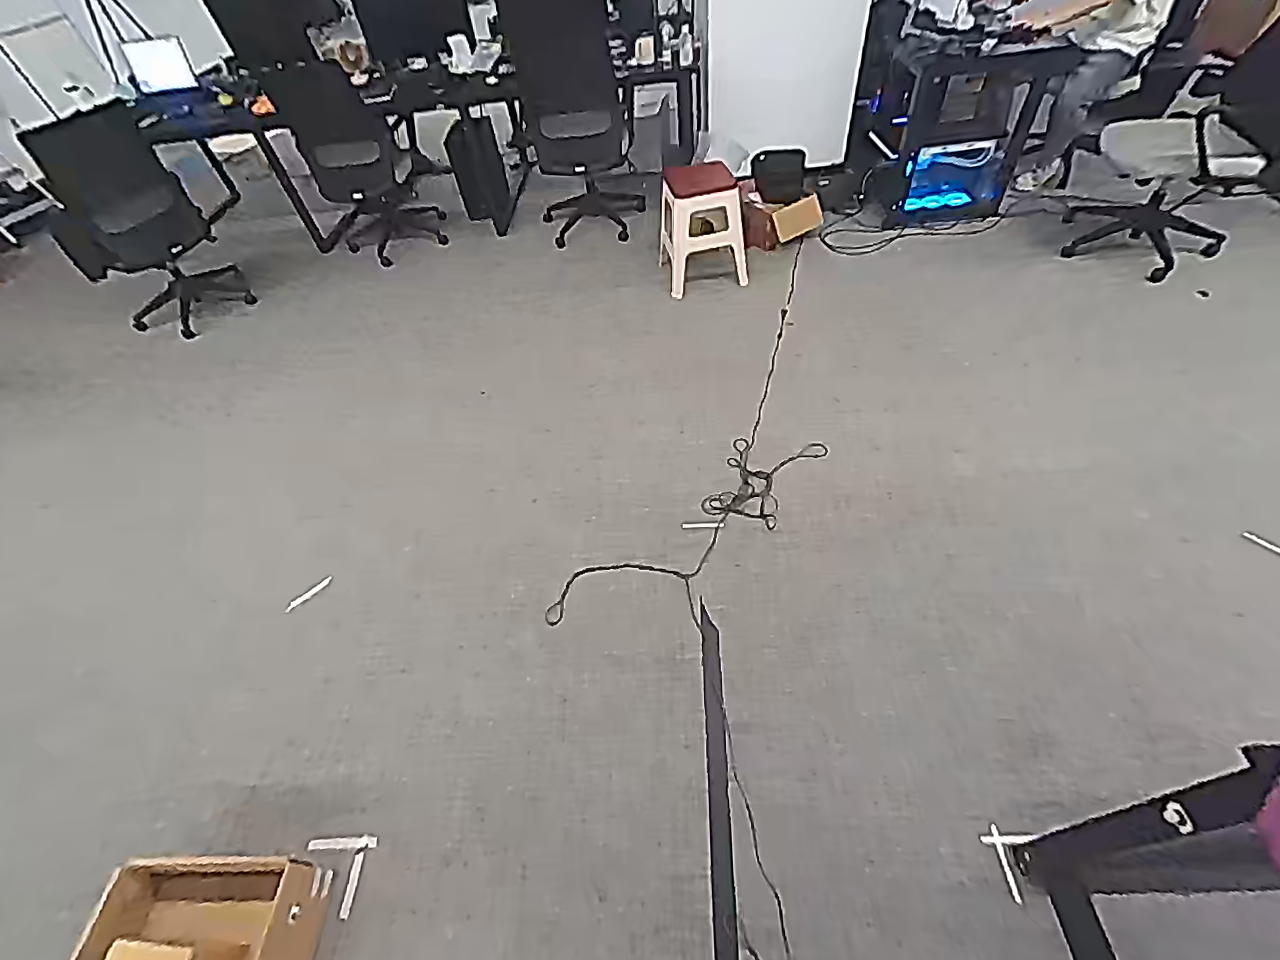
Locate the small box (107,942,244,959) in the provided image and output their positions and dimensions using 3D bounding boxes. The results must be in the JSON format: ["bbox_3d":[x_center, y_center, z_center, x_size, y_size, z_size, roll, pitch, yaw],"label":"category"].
[{"bbox_3d":[-0.943,1.022,1.058,0.179,0.176,0.168,0,50,8],"label":"small box"}]
